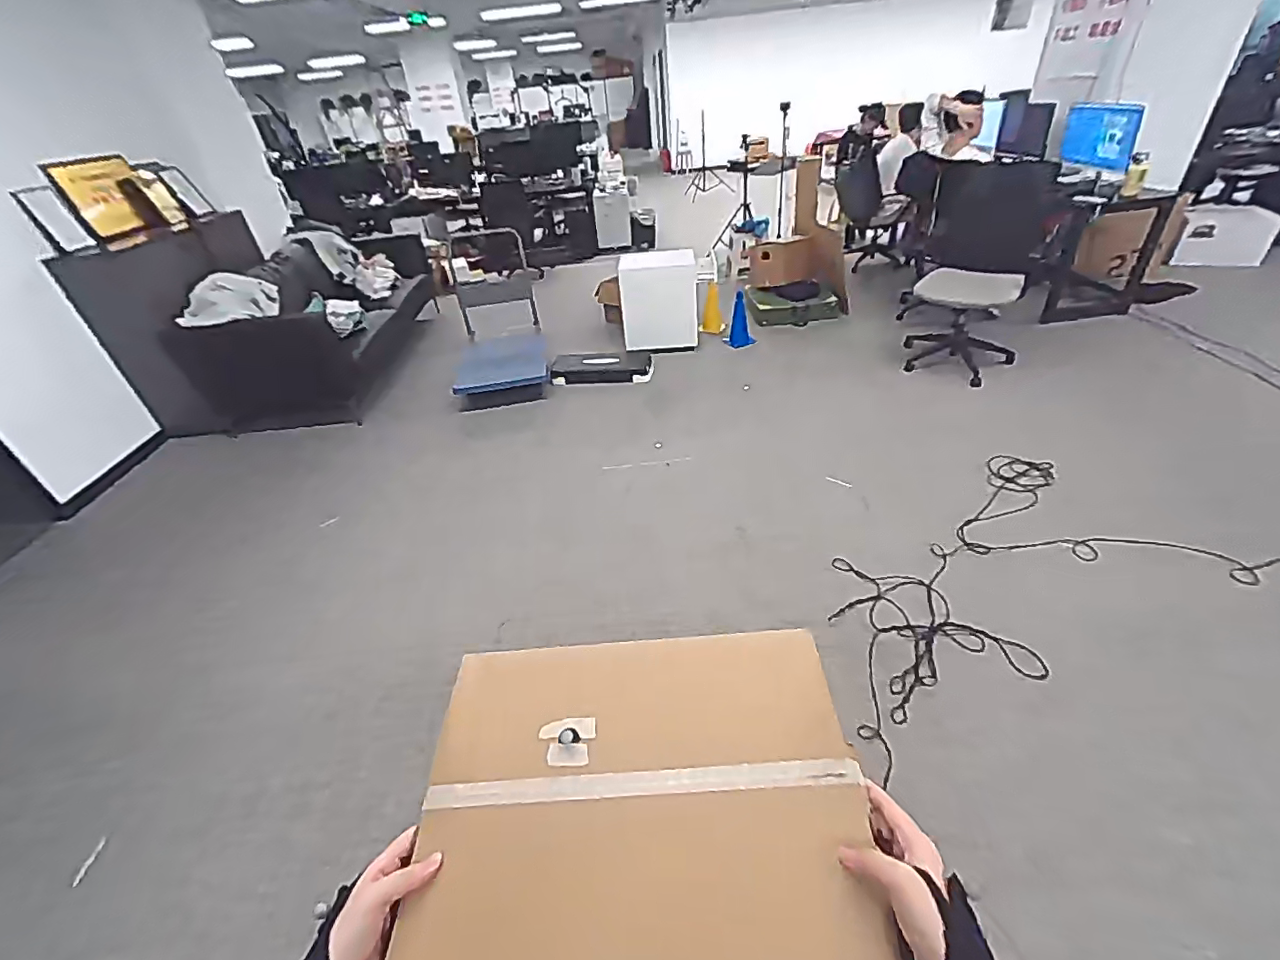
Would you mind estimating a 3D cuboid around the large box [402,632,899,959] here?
[{"bbox_3d":[0.019,0.409,0.615,0.408,0.320,0.320,-7,40,5],"label":"large box"}]
